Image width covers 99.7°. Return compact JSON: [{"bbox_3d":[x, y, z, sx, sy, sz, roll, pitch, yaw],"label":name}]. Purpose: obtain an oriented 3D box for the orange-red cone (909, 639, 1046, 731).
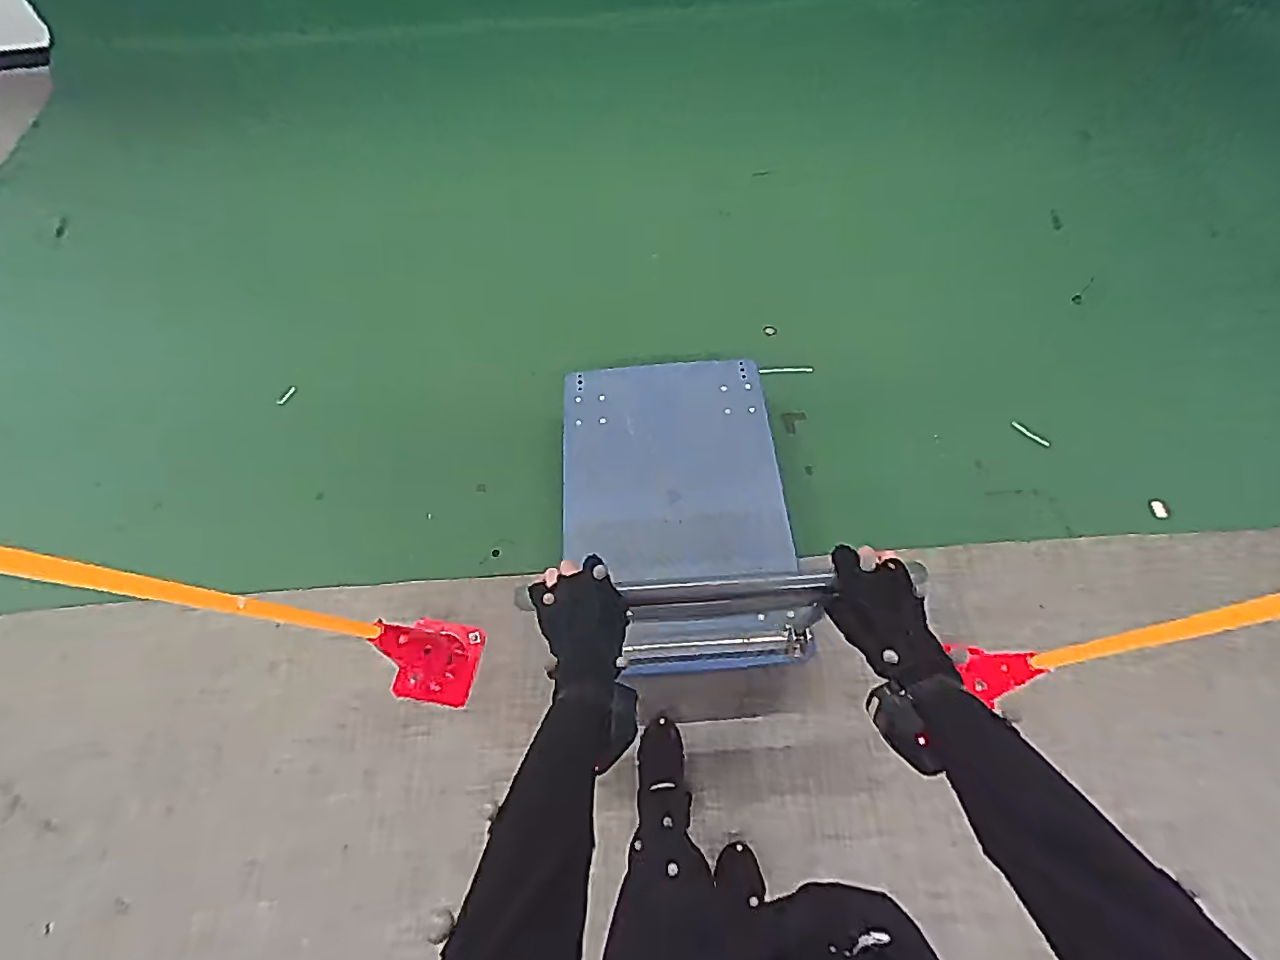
[{"bbox_3d":[0.757,0.422,1.173,0.198,0.360,0.199,6,64,7],"label":"orange-red cone"}]
